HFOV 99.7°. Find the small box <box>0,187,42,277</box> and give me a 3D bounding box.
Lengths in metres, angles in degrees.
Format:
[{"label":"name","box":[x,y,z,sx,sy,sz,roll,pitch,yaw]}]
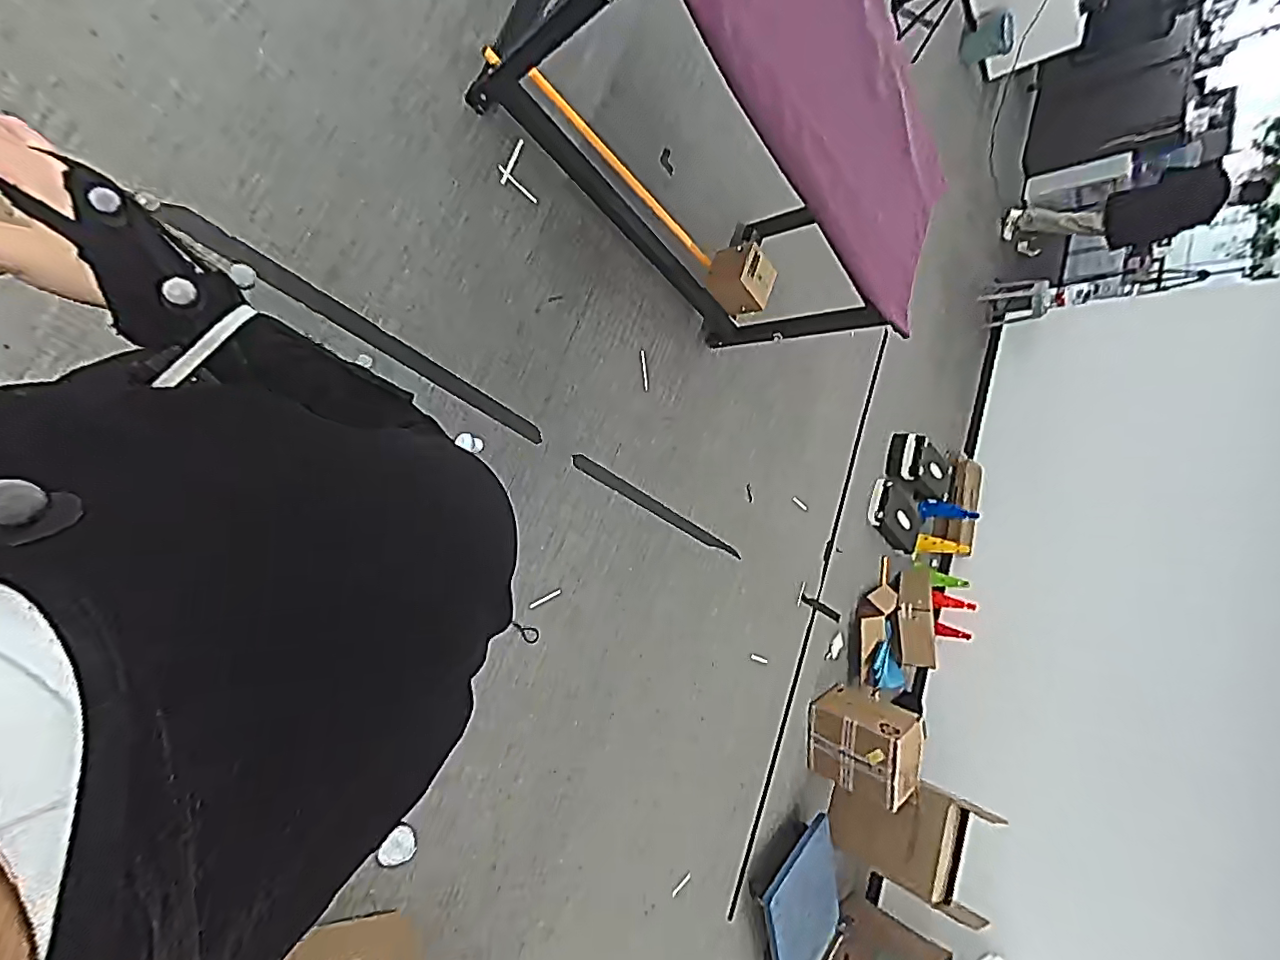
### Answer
[{"label":"small box","box":[-0.464,-0.173,0.266,0.168,0.176,0.179,-36,133,-28]}]
